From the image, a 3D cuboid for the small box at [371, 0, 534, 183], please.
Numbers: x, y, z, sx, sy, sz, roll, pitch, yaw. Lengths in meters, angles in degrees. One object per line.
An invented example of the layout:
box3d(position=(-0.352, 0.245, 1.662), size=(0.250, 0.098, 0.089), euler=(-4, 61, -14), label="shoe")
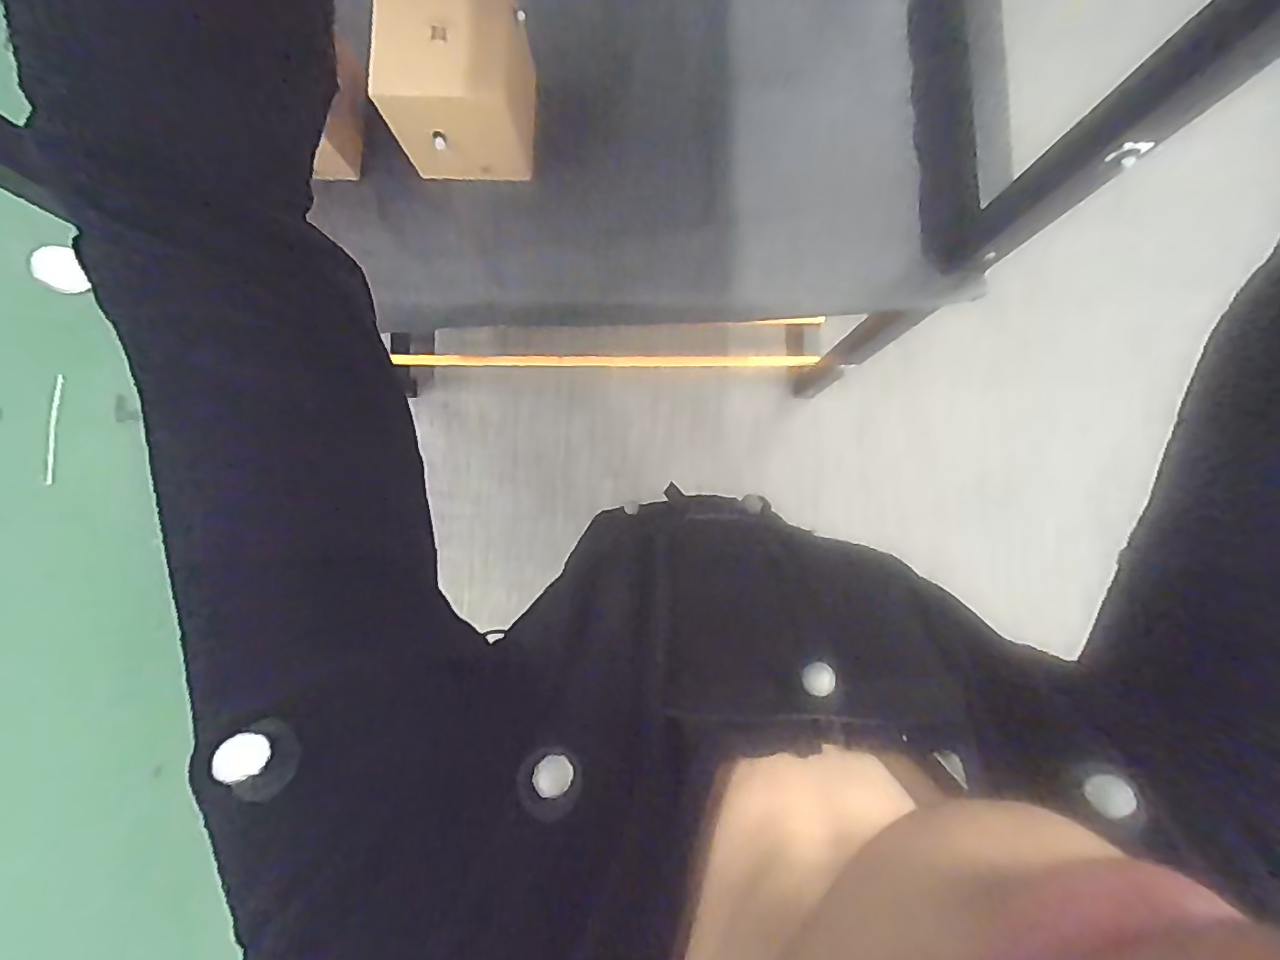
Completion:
box3d(position=(-0.244, -0.536, 0.741), size=(0.168, 0.176, 0.179), euler=(1, 85, 0), label="small box")
